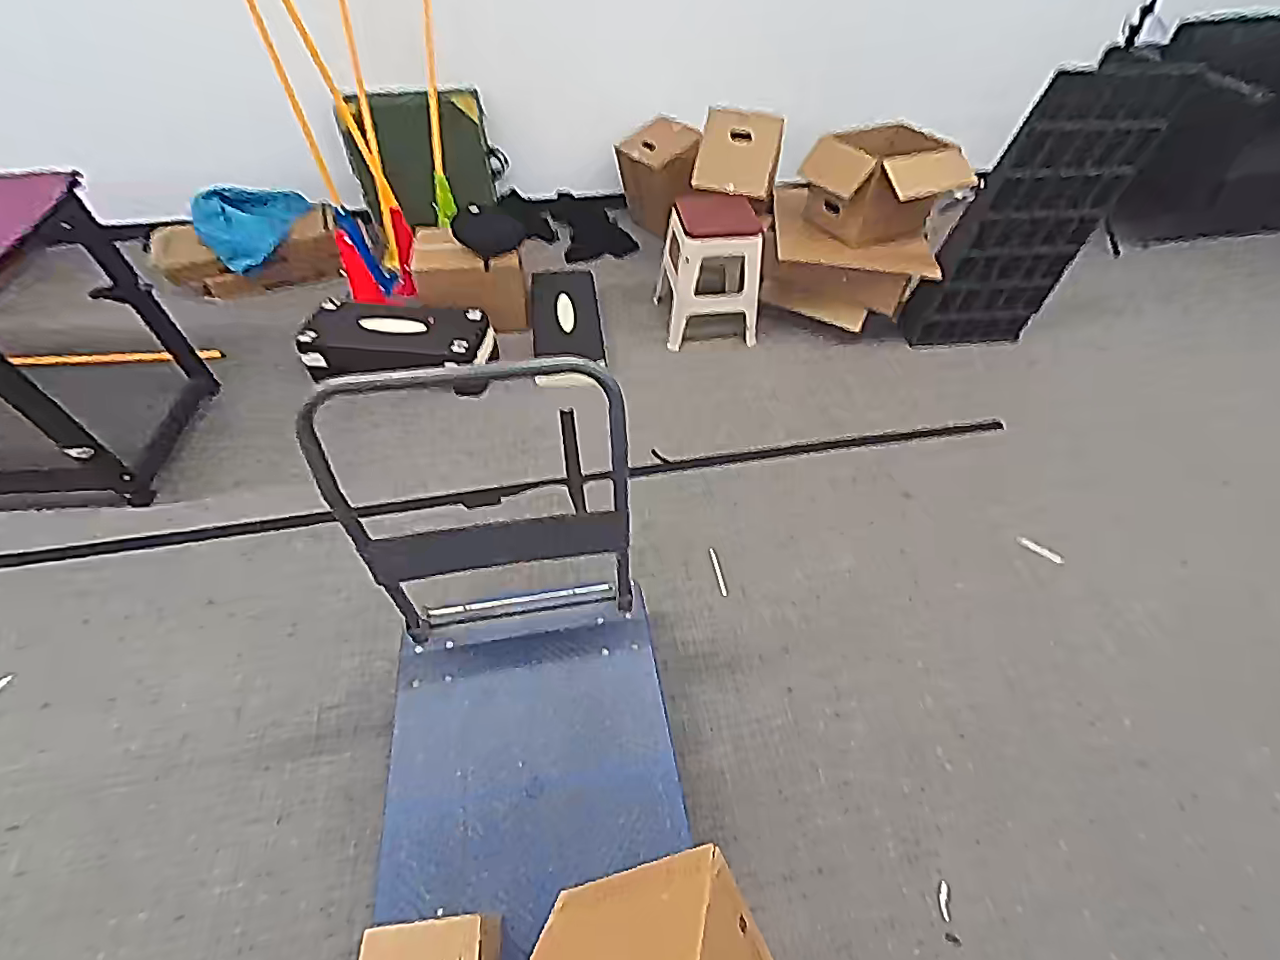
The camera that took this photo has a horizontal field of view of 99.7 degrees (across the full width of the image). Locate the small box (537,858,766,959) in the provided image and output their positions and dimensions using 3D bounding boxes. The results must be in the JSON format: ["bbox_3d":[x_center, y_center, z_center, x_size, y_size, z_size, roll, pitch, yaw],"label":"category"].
[{"bbox_3d":[0.010,0.454,0.433,0.179,0.176,0.168,-27,88,13],"label":"small box"}]

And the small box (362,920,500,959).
[{"bbox_3d":[-0.316,0.783,0.823,0.179,0.176,0.168,-4,50,-4],"label":"small box"}]
